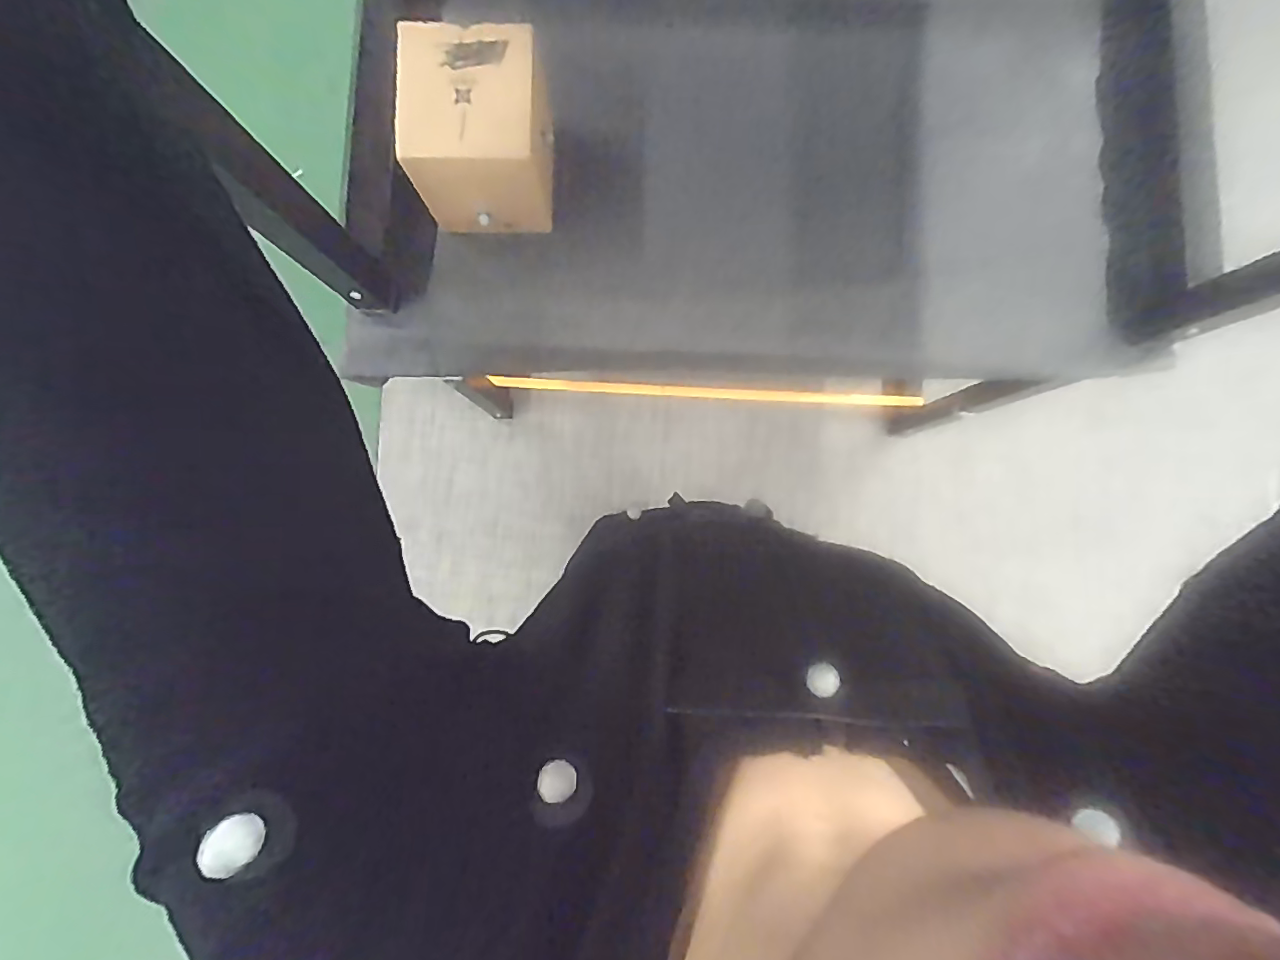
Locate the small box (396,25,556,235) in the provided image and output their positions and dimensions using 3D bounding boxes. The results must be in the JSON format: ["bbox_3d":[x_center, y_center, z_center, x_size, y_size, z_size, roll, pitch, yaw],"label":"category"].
[{"bbox_3d":[-0.209,-0.461,0.732,0.168,0.176,0.179,0,85,0],"label":"small box"}]
